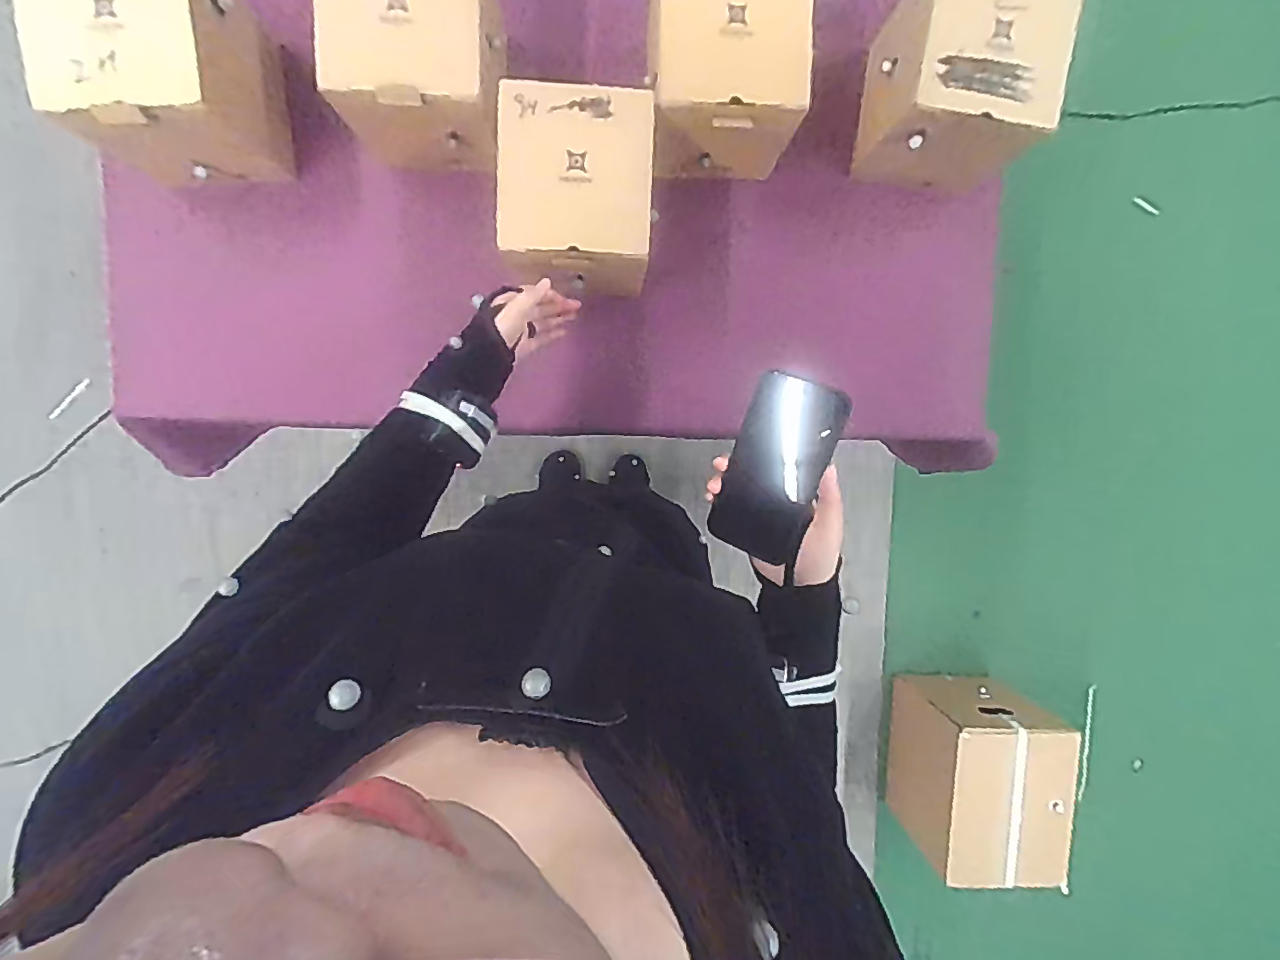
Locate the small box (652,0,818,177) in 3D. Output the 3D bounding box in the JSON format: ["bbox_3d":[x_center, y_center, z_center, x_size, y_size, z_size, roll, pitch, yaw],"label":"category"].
[{"bbox_3d":[0.102,-0.496,0.650,0.168,0.176,0.179,0,97,-3],"label":"small box"}]

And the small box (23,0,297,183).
[{"bbox_3d":[-0.527,-0.468,0.617,0.168,0.176,0.179,-4,96,-3],"label":"small box"}]

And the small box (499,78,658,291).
[{"bbox_3d":[-0.070,-0.338,0.654,0.168,0.176,0.179,2,96,-4],"label":"small box"}]

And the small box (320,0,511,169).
[{"bbox_3d":[-0.247,-0.493,0.631,0.168,0.176,0.179,2,95,-4],"label":"small box"}]
